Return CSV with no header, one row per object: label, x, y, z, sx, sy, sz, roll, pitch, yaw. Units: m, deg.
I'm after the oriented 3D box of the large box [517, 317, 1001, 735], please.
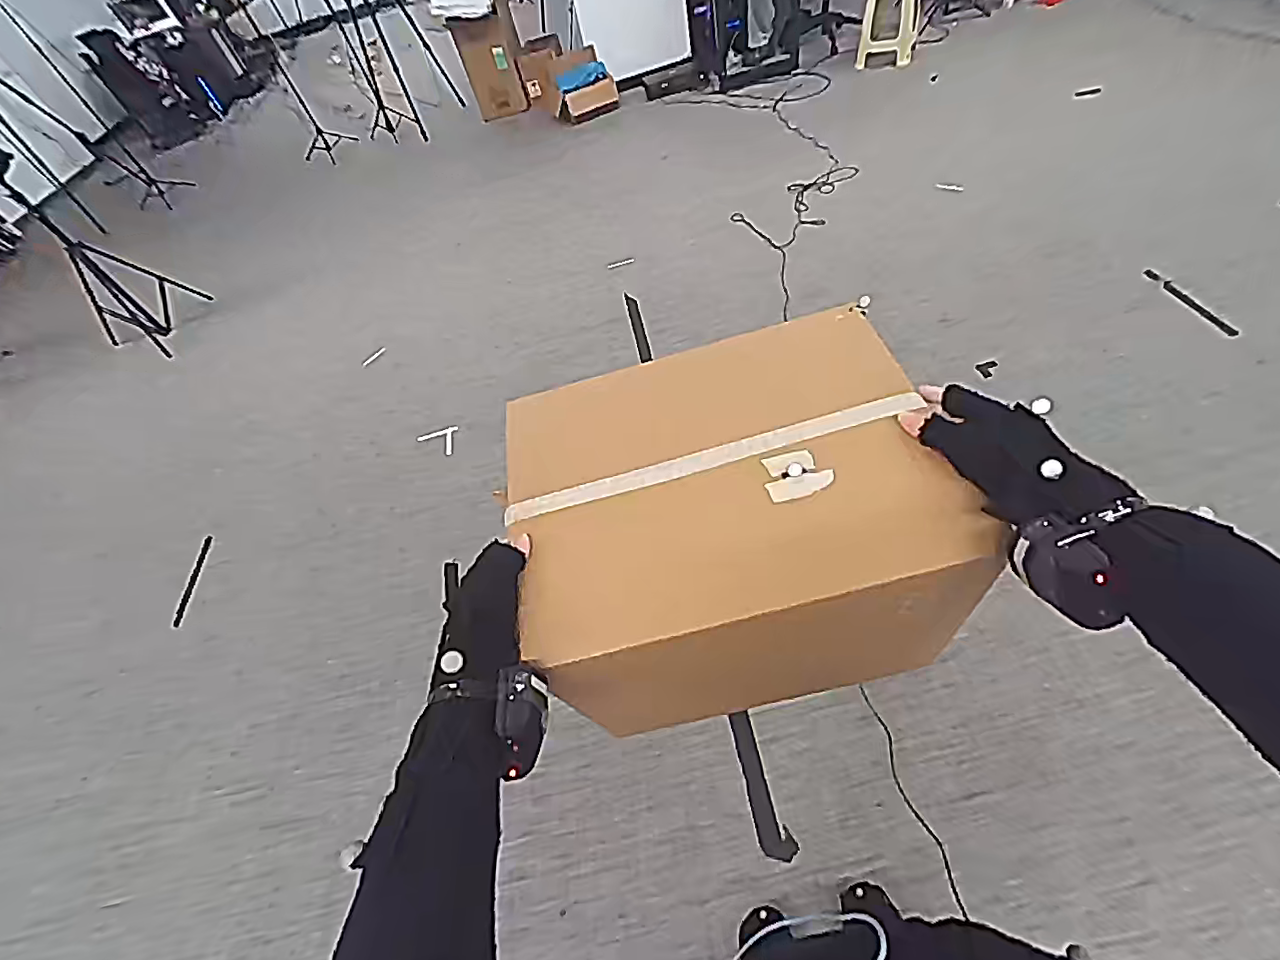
large box,0.103,0.071,0.648,0.408,0.320,0.320,-15,54,3
